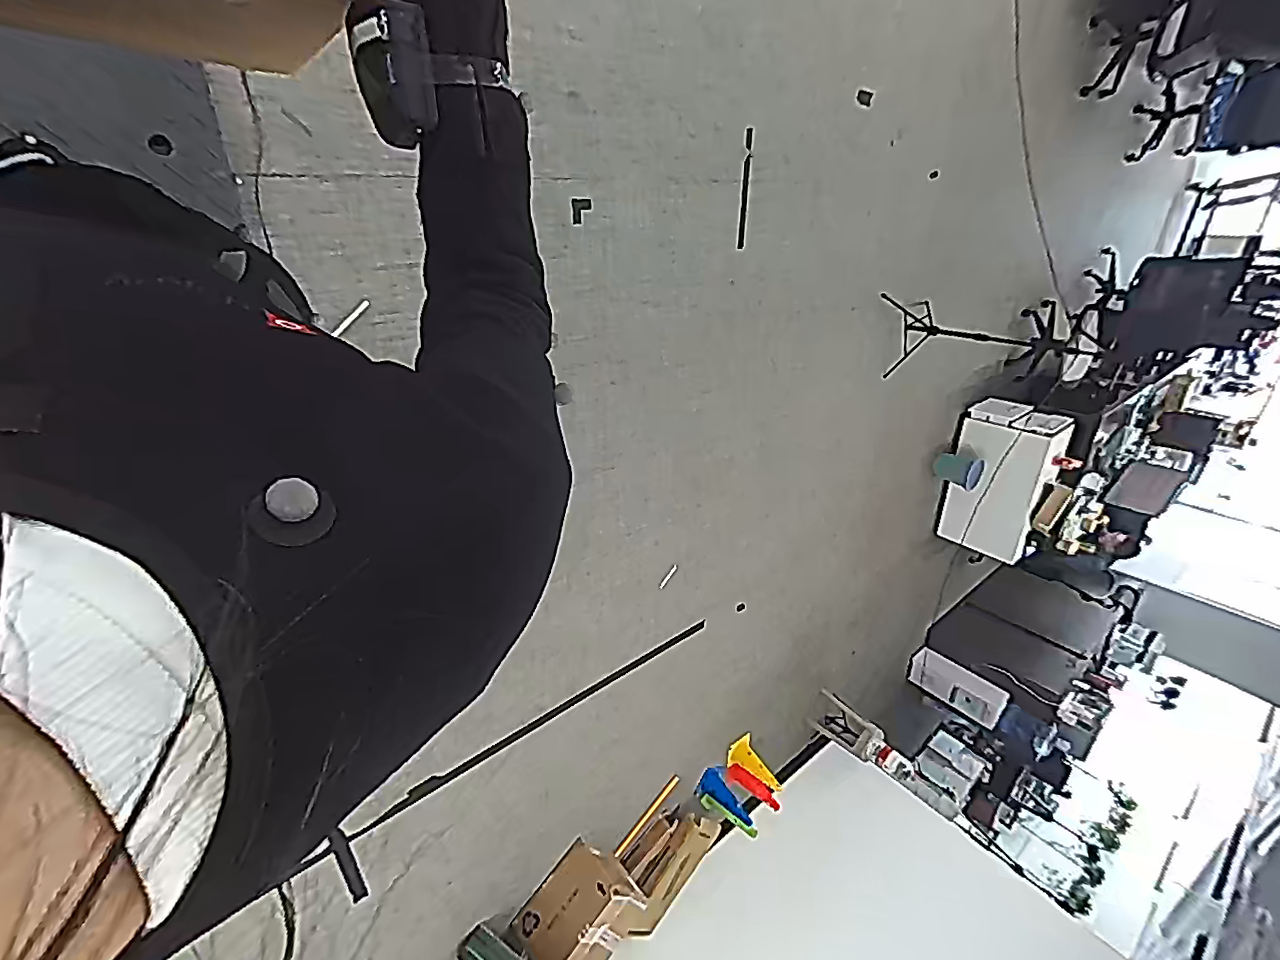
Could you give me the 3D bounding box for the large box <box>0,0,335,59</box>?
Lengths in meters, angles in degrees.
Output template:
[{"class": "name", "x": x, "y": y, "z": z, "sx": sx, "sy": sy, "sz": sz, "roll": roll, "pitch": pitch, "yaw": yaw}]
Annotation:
[{"class": "large box", "x": -0.390, "y": -0.422, "z": 0.224, "sx": 0.408, "sy": 0.320, "sz": 0.320, "roll": -17, "pitch": 124, "yaw": -35}]
